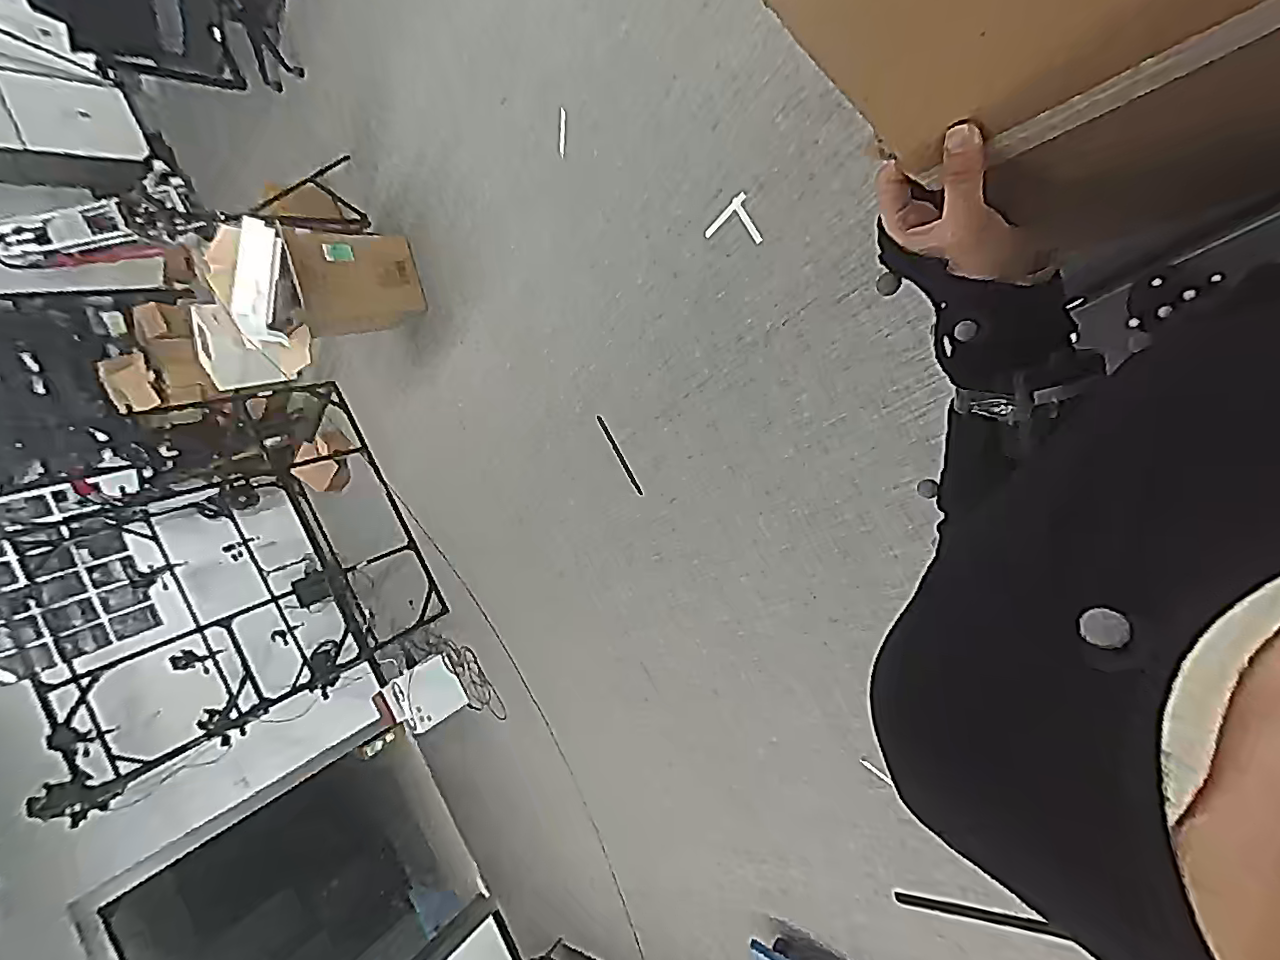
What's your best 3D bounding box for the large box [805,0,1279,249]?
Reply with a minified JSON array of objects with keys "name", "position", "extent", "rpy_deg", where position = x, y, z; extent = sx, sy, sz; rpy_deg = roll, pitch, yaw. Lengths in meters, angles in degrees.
[{"name":"large box","position":[0.288,-0.354,0.172],"extent":[0.408,0.320,0.320],"rpy_deg":[-9,76,50]}]
